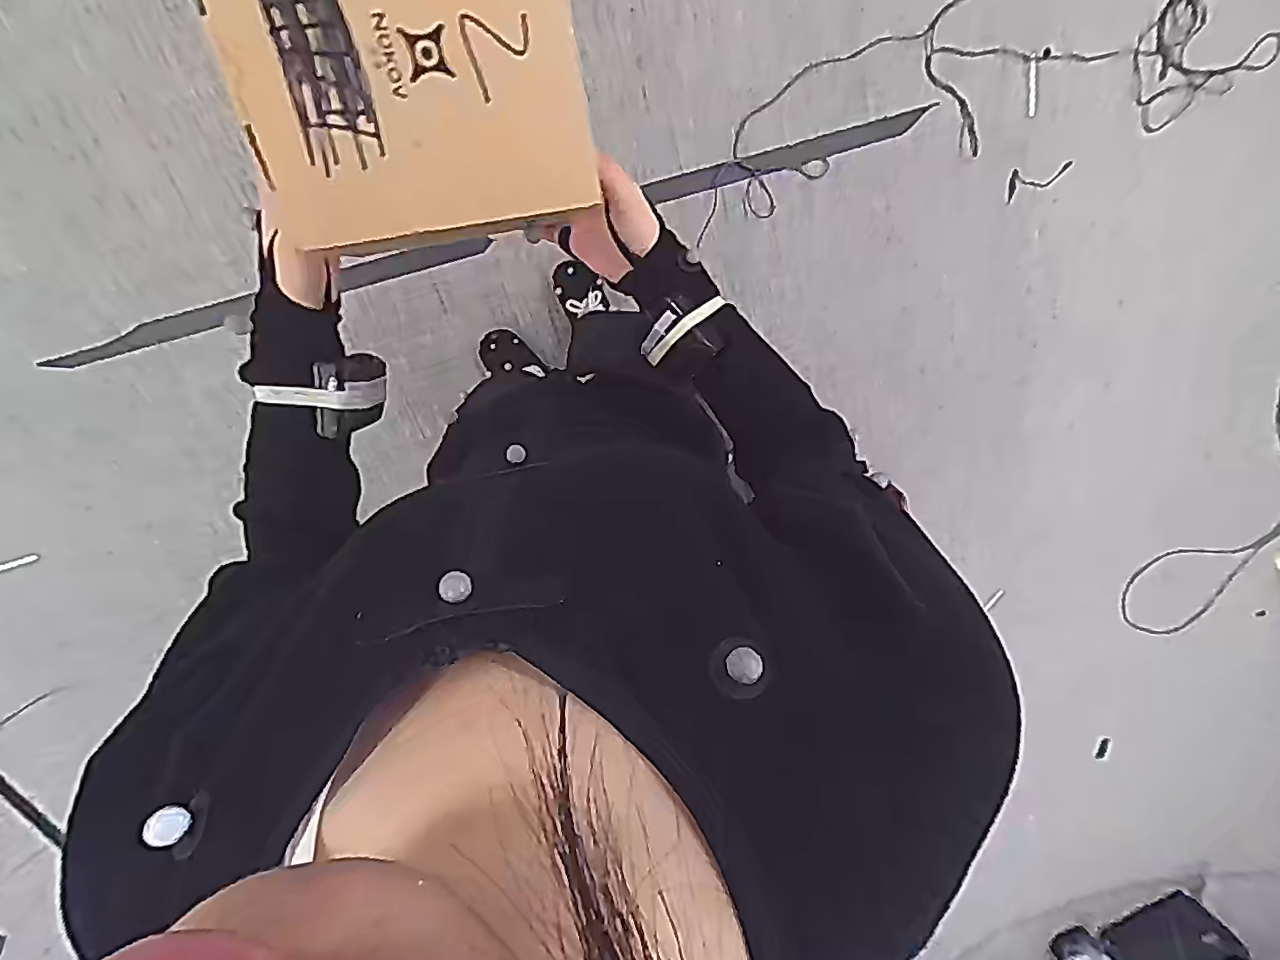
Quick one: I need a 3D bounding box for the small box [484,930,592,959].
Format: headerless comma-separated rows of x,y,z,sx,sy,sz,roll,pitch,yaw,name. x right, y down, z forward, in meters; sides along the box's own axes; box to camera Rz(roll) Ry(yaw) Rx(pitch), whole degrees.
-0.142,0.807,0.782,0.179,0.176,0.168,-14,110,-6,small box

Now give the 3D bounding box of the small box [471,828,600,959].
-0.172,0.752,0.934,0.179,0.176,0.168,-15,111,-5,small box
